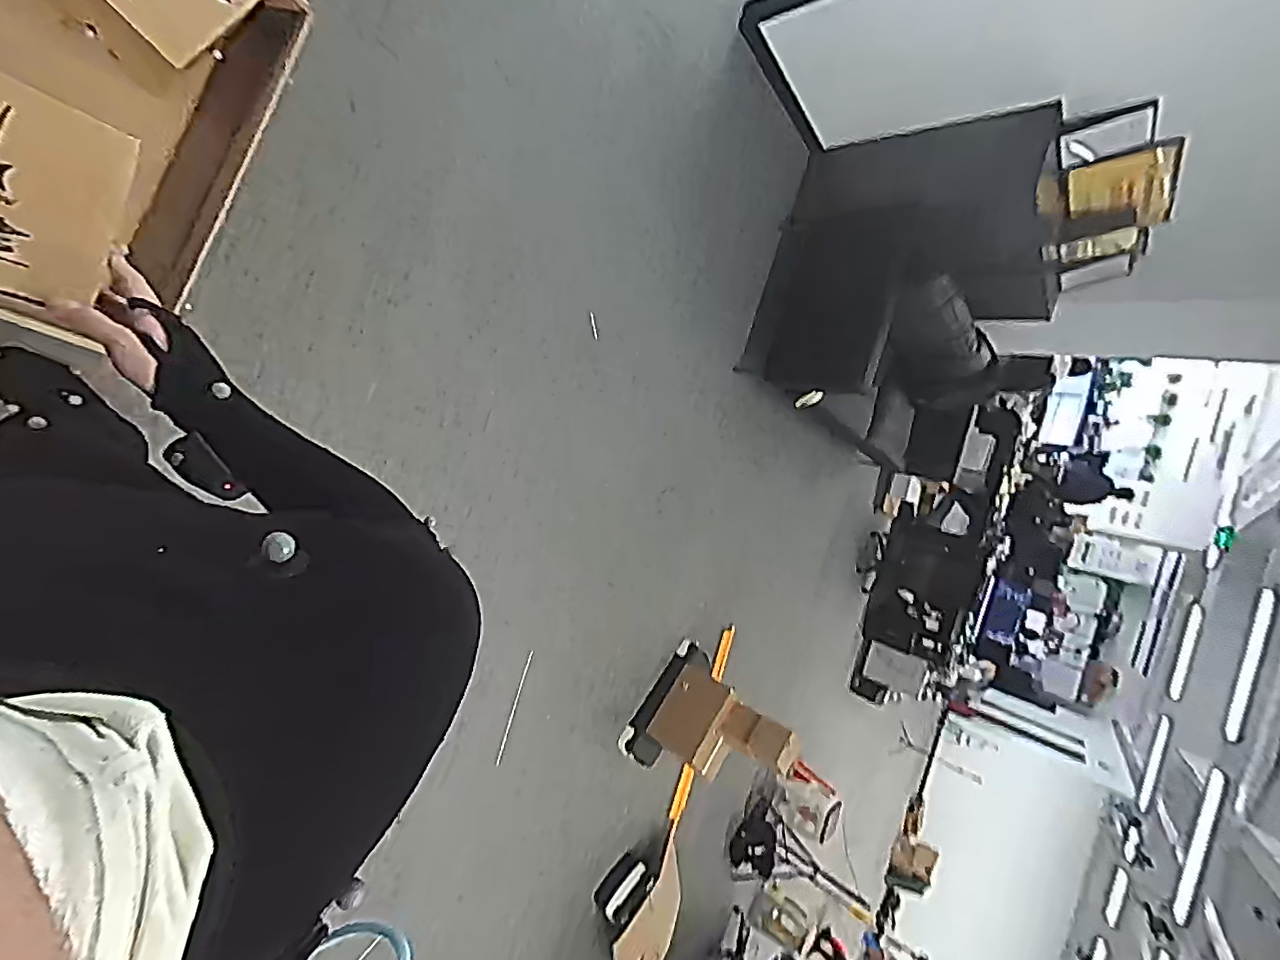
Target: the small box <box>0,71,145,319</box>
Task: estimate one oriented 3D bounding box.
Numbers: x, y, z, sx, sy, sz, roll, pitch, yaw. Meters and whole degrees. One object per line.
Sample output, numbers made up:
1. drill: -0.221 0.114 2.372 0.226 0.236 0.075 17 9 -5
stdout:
1. small box: -0.592 -0.267 0.497 0.168 0.176 0.179 16 93 -49
